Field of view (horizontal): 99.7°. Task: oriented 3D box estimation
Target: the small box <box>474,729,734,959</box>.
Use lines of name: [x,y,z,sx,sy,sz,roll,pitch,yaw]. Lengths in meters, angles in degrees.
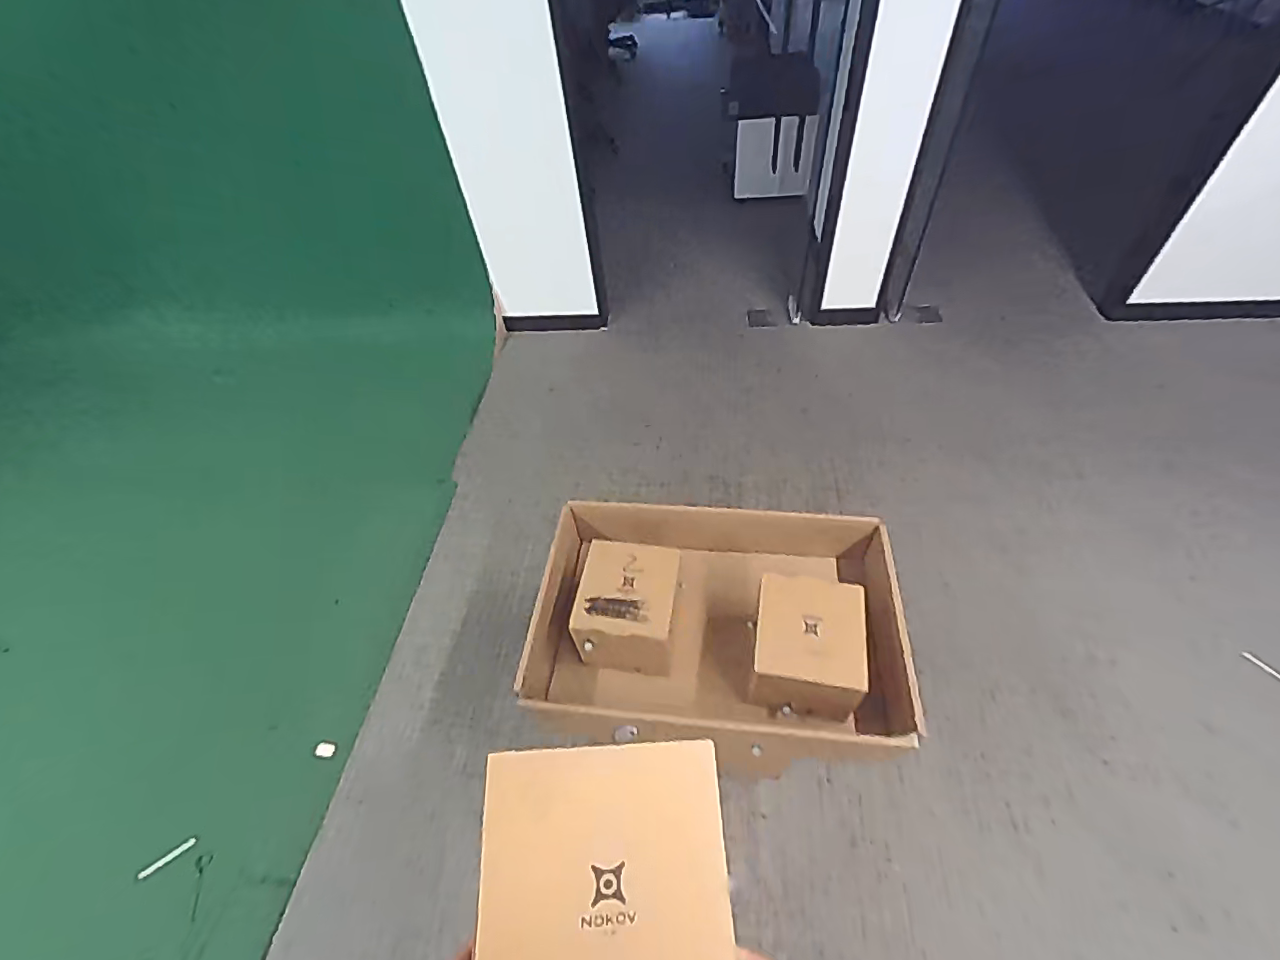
small box: [-0.036,0.301,0.426,0.168,0.176,0.179,1,62,-9]
